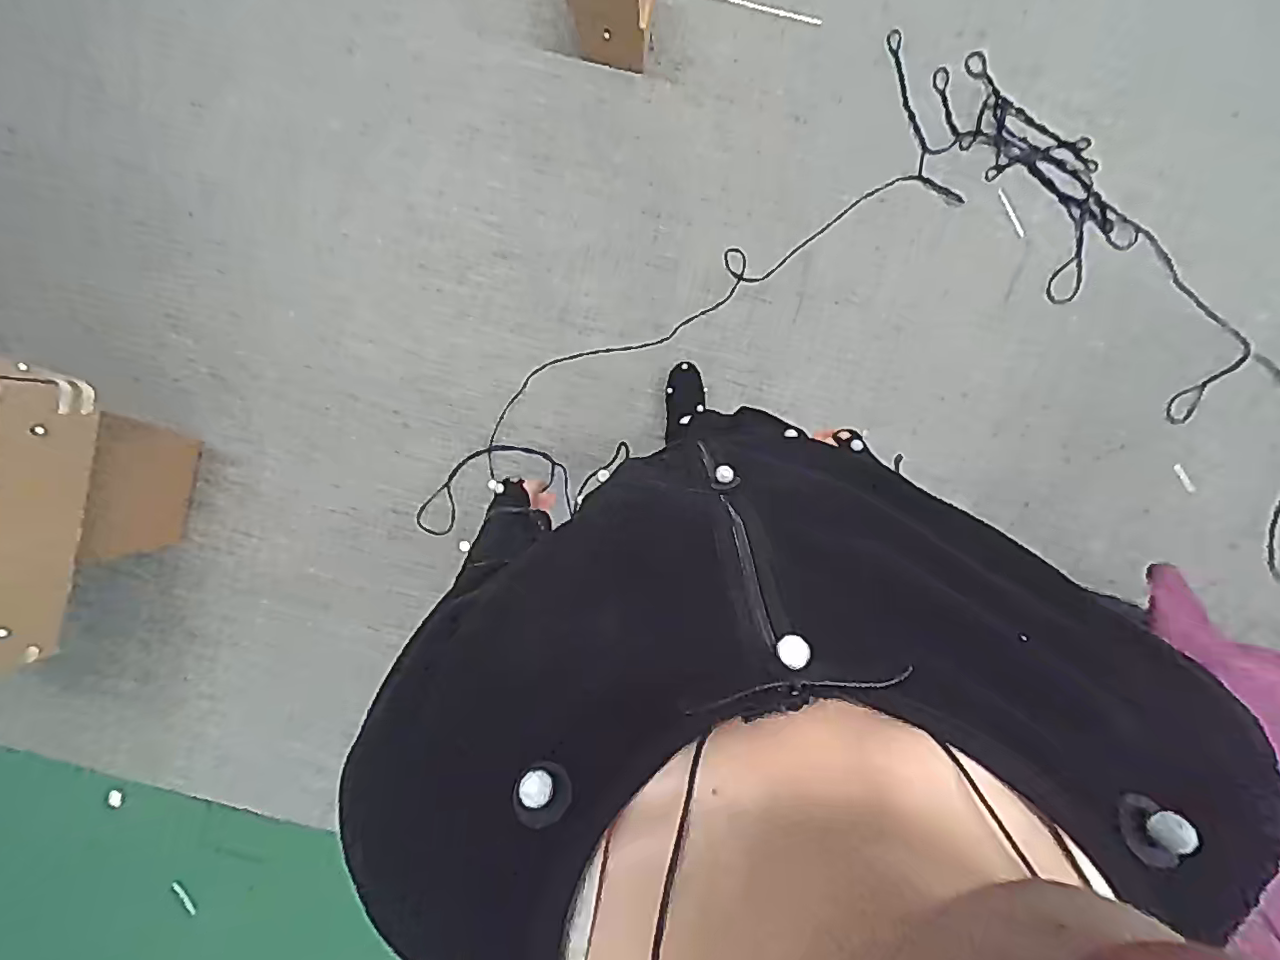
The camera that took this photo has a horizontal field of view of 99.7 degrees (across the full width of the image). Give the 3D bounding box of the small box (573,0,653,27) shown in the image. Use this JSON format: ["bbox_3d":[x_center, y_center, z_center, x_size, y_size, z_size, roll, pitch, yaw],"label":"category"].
[{"bbox_3d":[-0.053,-1.116,1.146,0.179,0.176,0.168,15,97,0],"label":"small box"}]

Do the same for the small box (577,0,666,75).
[{"bbox_3d":[-0.040,-1.129,1.310,0.179,0.176,0.168,14,96,-1],"label":"small box"}]
